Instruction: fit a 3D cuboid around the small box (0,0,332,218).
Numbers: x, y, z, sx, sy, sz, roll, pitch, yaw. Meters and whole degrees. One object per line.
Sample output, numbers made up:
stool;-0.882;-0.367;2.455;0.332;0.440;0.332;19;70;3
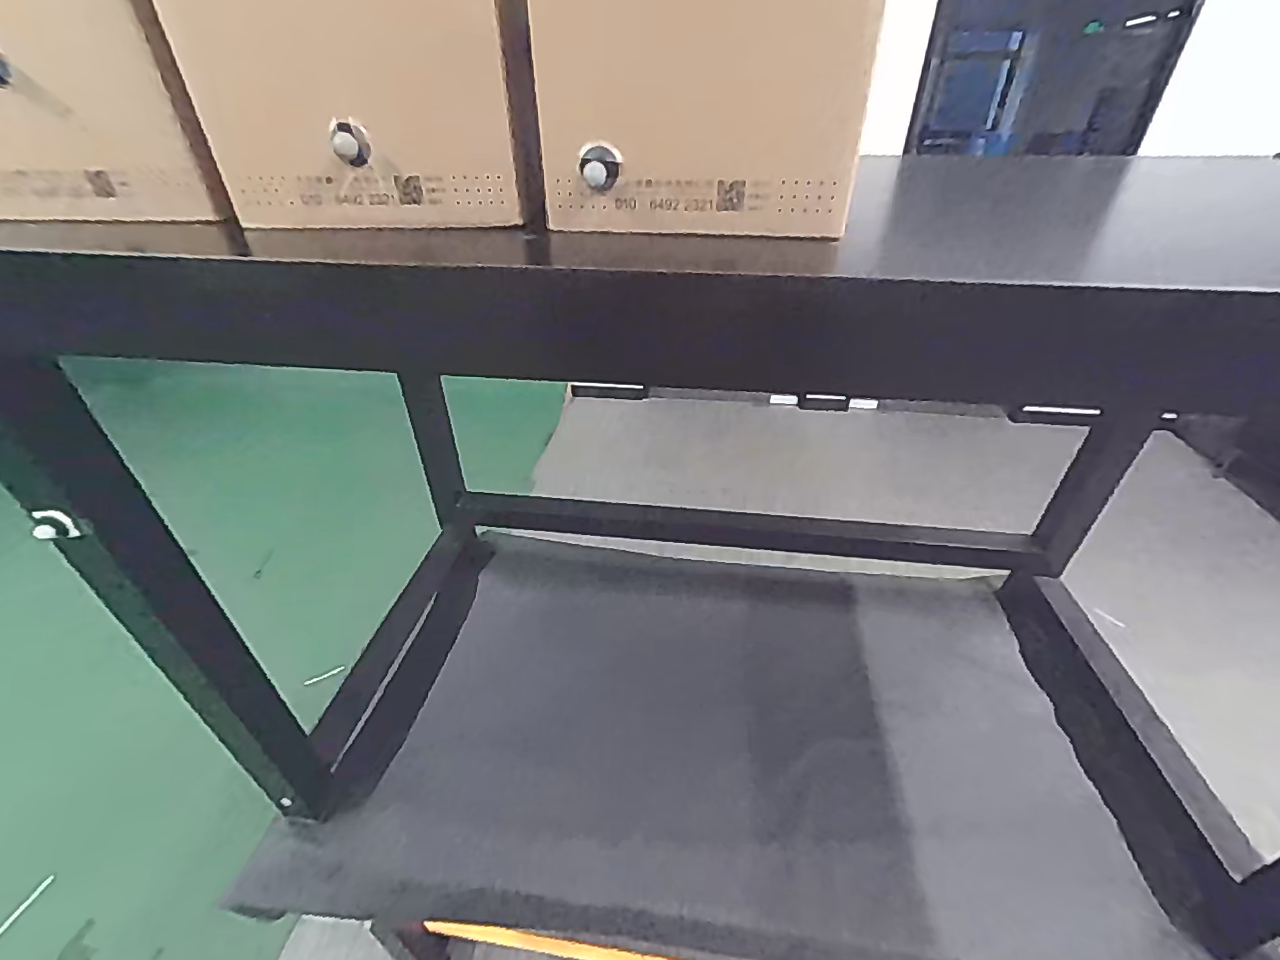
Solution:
small box;-0.348;-0.284;0.373;0.168;0.176;0.179;1;34;0

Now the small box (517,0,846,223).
small box;0.032;-0.263;0.336;0.168;0.176;0.179;5;34;8
